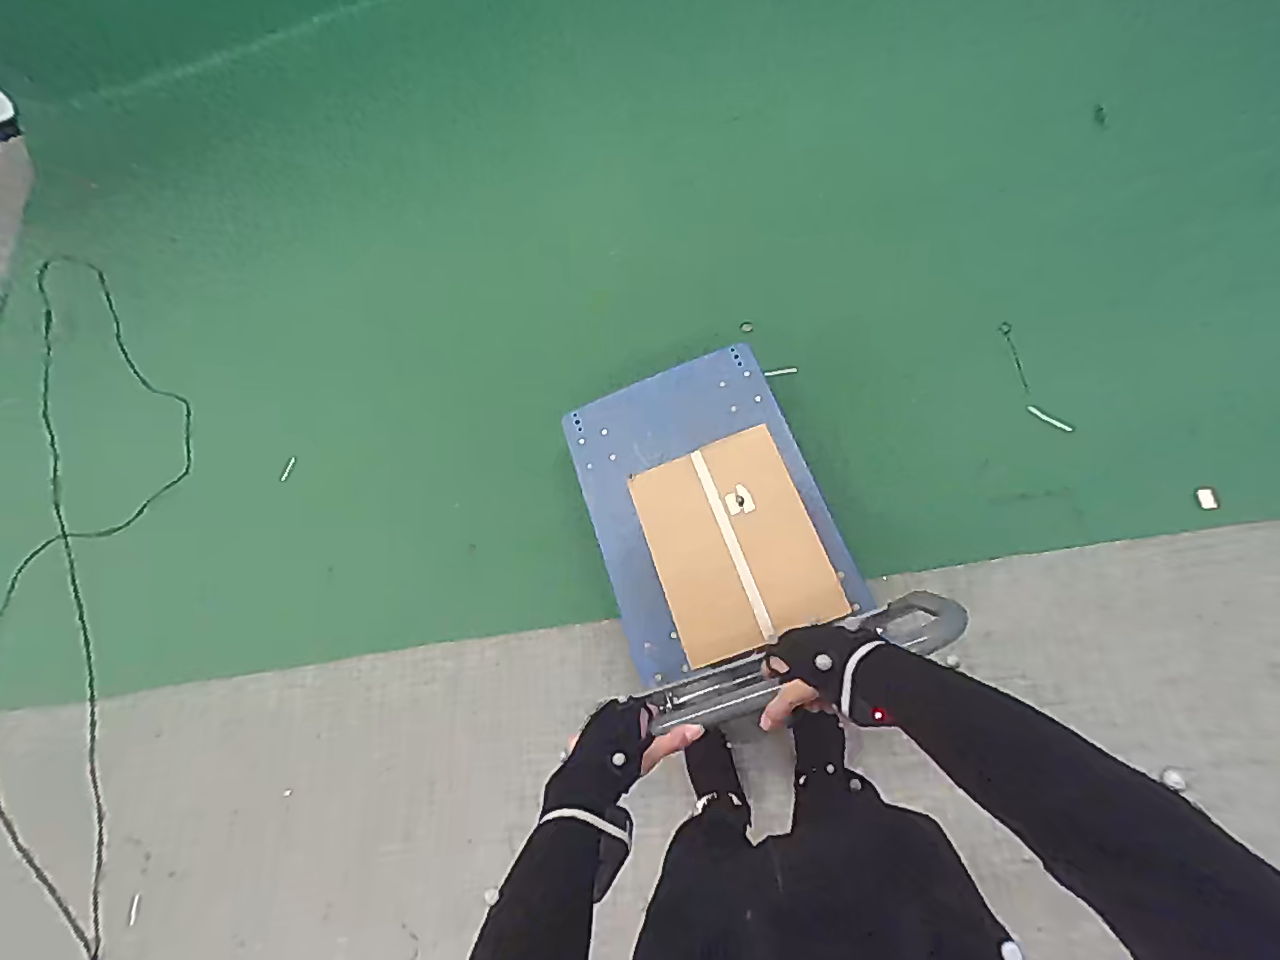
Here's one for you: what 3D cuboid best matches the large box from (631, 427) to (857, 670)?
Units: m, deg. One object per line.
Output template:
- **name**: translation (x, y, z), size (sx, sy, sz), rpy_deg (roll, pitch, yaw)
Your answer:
- **large box**: translation (0.220, 0.164, 1.179), size (0.320, 0.320, 0.408), rpy_deg (-22, 68, 6)
